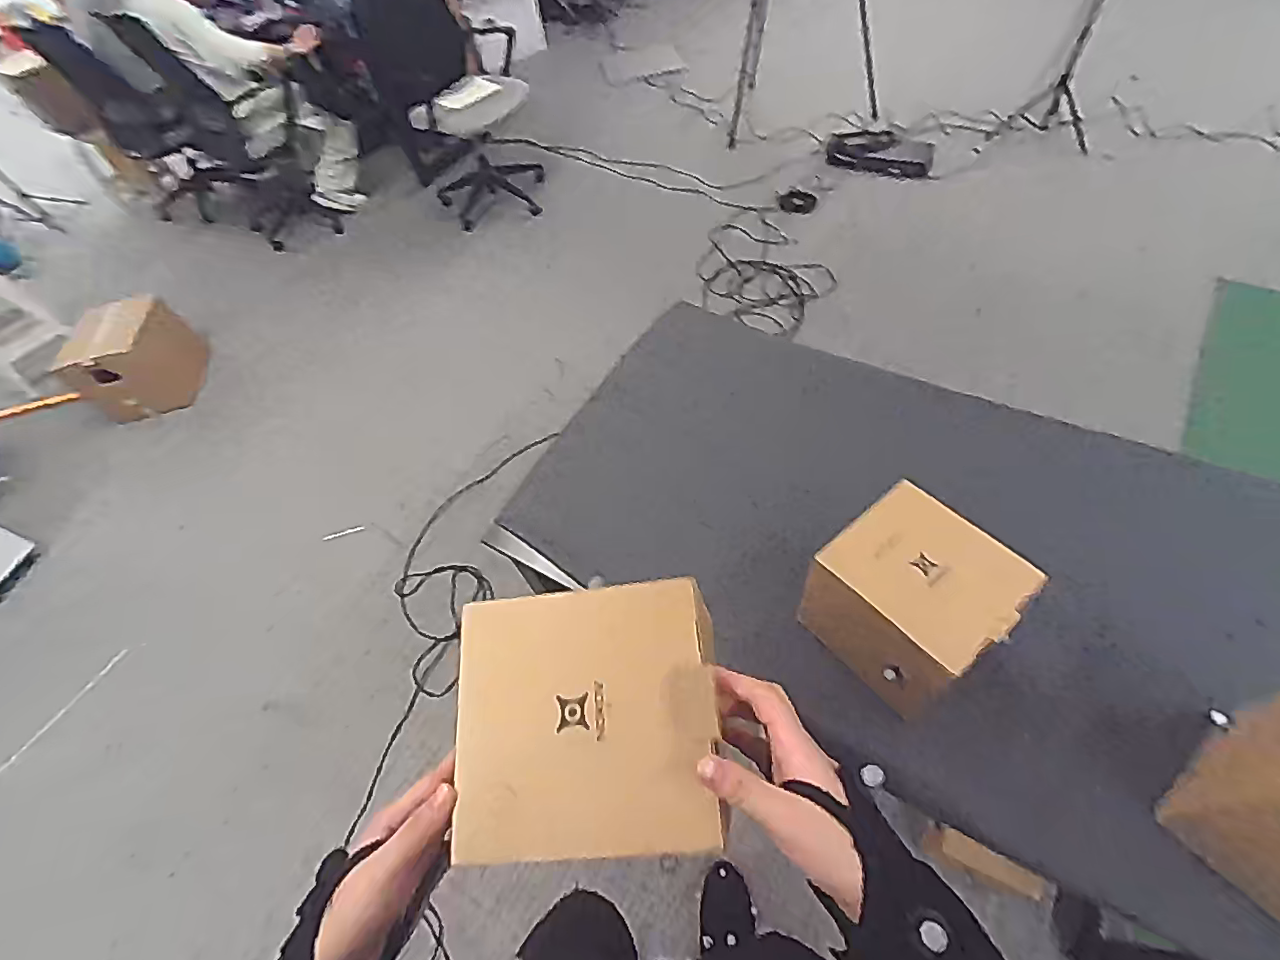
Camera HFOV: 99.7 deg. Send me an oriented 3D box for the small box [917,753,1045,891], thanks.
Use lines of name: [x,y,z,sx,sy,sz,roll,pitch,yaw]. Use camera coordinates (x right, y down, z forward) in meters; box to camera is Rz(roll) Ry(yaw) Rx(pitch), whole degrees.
small box: [0.681,0.688,1.094,0.168,0.176,0.179,18,60,20]

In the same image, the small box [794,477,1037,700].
small box: [0.310,0.137,0.648,0.168,0.176,0.179,-35,56,-19]

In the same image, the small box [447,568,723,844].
small box: [-0.031,0.180,0.438,0.179,0.176,0.168,-8,66,6]
